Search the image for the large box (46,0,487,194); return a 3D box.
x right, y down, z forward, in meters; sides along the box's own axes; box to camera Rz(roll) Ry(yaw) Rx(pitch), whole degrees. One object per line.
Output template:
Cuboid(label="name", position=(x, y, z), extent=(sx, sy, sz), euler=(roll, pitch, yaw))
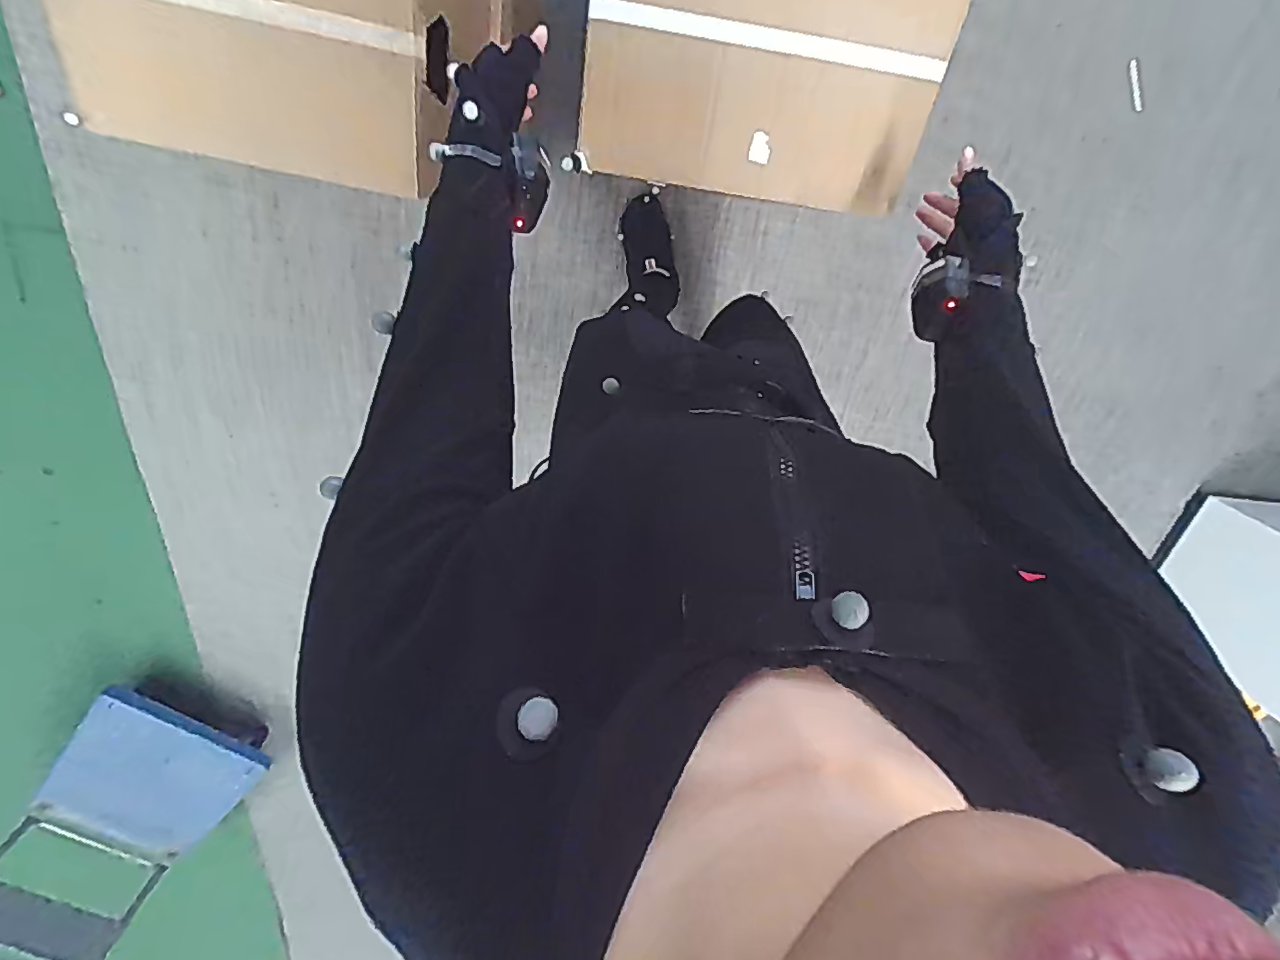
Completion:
Cuboid(label="large box", position=(-0.444, -0.599, 0.719), extent=(0.408, 0.320, 0.320), euler=(11, 120, -3))
